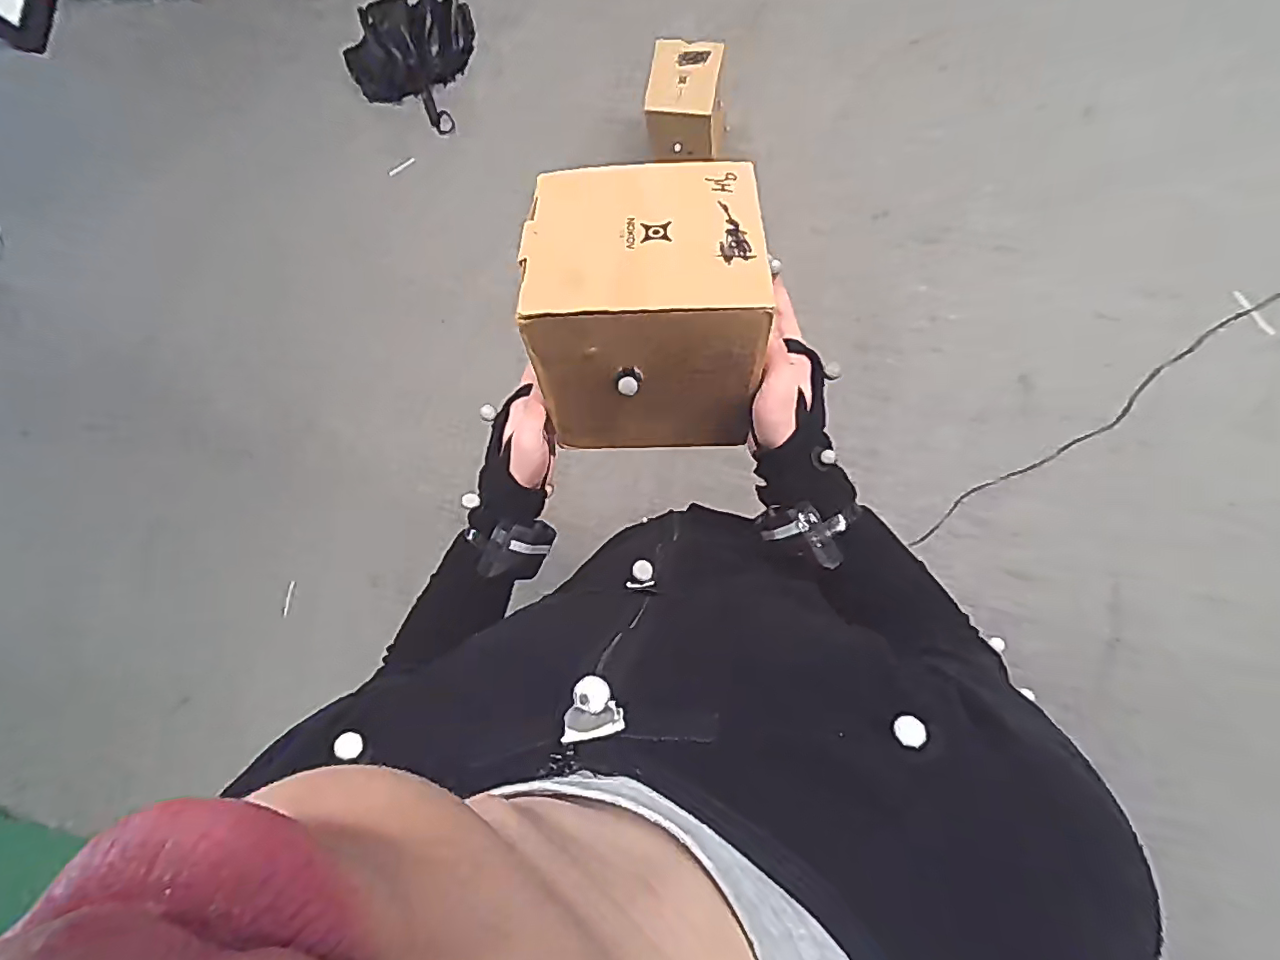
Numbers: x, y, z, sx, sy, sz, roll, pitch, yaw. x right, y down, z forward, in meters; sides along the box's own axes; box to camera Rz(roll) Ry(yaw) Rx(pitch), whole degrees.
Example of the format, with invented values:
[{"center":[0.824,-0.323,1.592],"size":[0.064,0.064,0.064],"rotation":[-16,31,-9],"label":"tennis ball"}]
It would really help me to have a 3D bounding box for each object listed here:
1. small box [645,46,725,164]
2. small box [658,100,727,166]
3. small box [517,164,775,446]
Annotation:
[{"center":[0.117,-0.942,1.366],"size":[0.168,0.176,0.179],"rotation":[11,89,10],"label":"small box"},{"center":[0.151,-0.936,1.528],"size":[0.168,0.176,0.179],"rotation":[9,89,10],"label":"small box"},{"center":[0.009,-0.140,0.466],"size":[0.179,0.176,0.168],"rotation":[0,61,3],"label":"small box"}]
